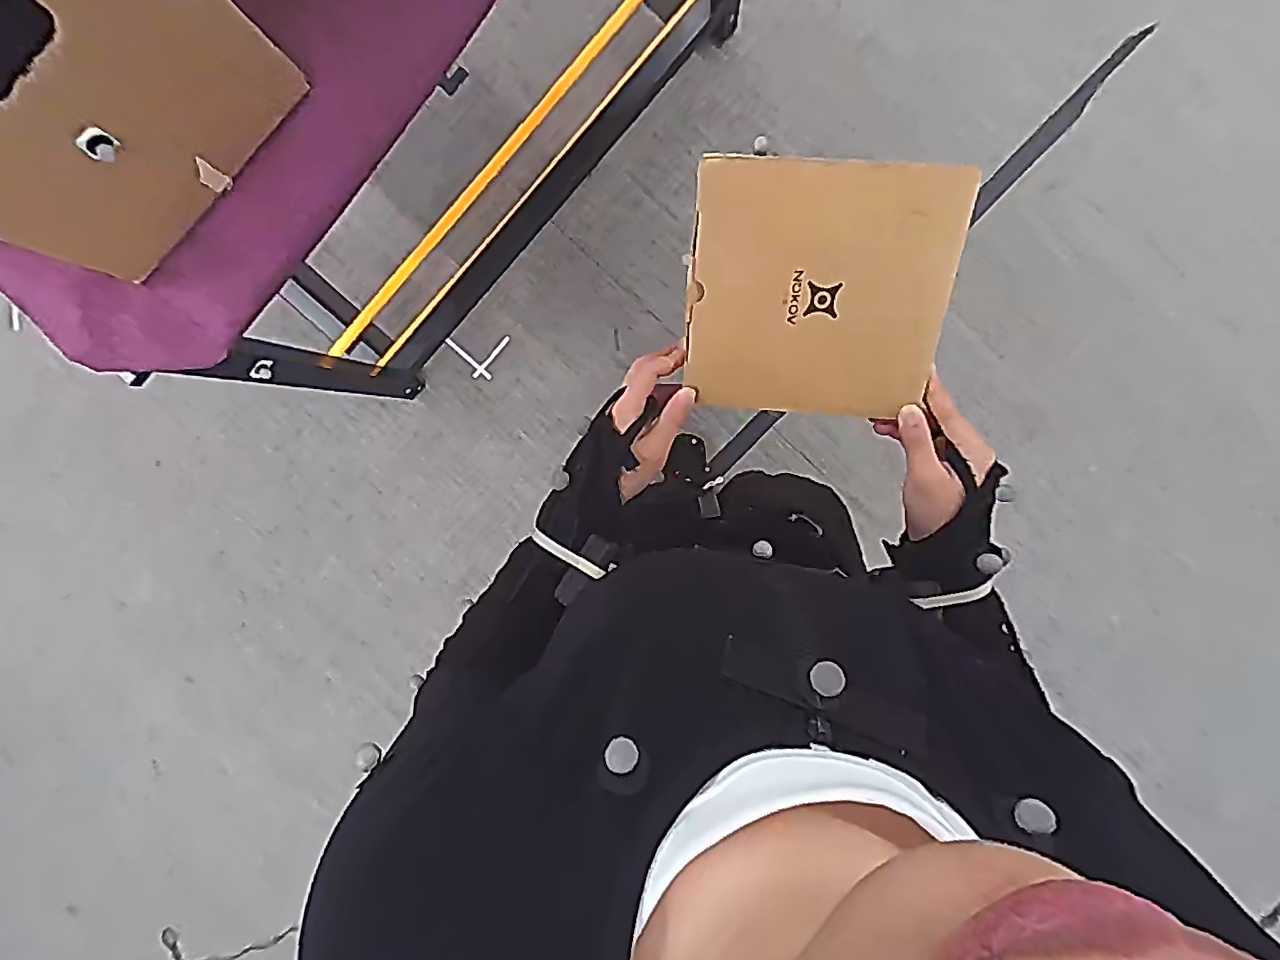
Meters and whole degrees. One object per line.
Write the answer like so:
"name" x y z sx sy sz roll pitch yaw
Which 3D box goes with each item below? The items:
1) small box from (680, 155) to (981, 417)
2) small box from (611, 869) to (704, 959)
"small box" 0.130 -0.161 0.443 0.179 0.176 0.168 5 116 6
"small box" 0.043 1.161 1.388 0.168 0.176 0.179 42 96 -1
